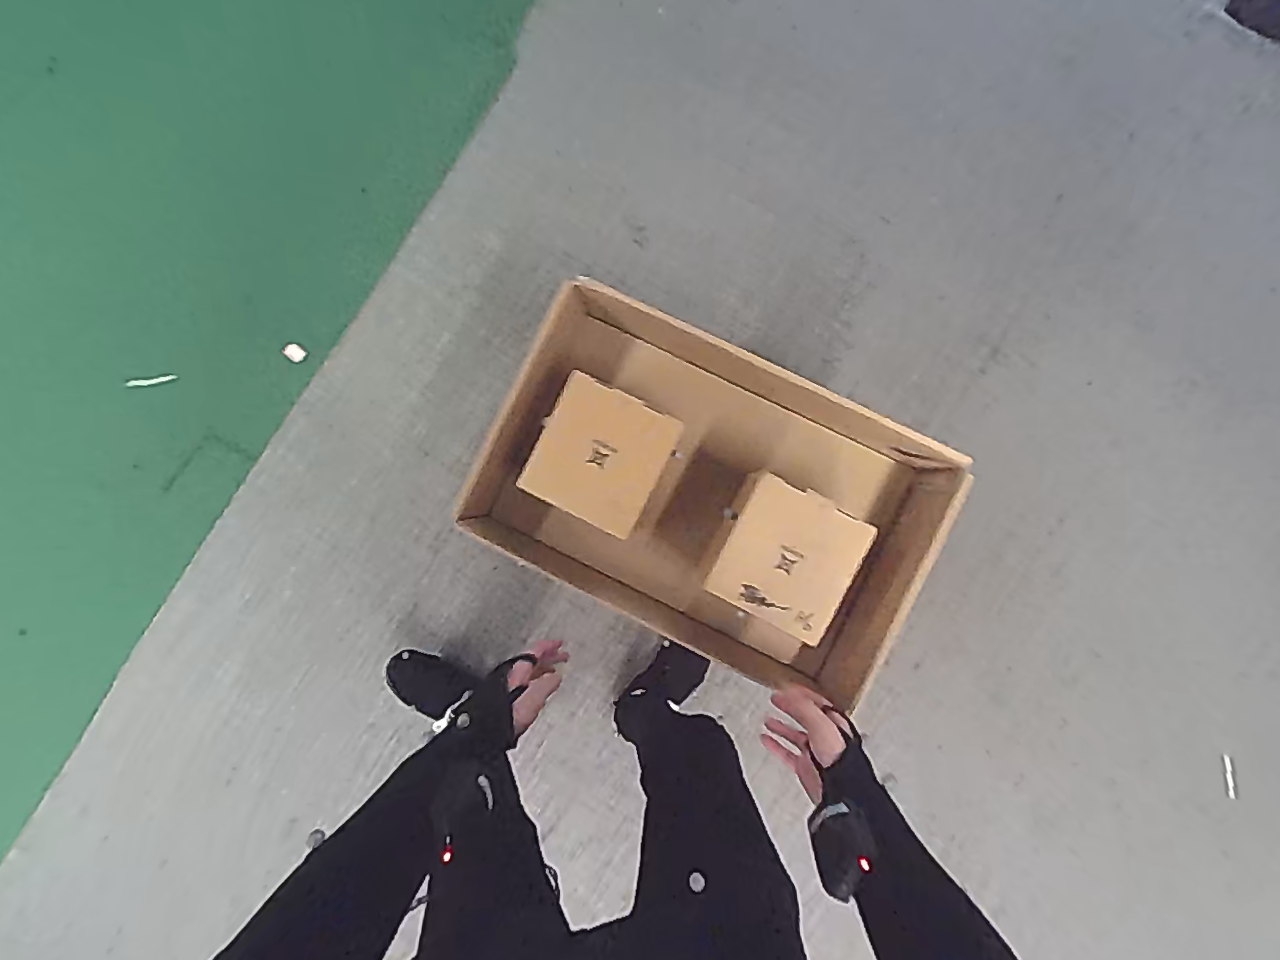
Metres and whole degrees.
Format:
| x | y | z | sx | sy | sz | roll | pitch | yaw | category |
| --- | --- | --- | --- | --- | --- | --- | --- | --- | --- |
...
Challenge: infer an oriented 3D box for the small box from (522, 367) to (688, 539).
| x | y | z | sx | sy | sz | roll | pitch | yaw | category |
| --- | --- | --- | --- | --- | --- | --- | --- | --- | --- |
| -0.041 | -0.032 | 0.783 | 0.168 | 0.176 | 0.179 | 27 | 89 | 4 | small box |

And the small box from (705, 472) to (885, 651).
| x | y | z | sx | sy | sz | roll | pitch | yaw | category |
| --- | --- | --- | --- | --- | --- | --- | --- | --- | --- |
| 0.202 | 0.105 | 0.766 | 0.168 | 0.176 | 0.179 | 29 | 90 | 3 | small box |
